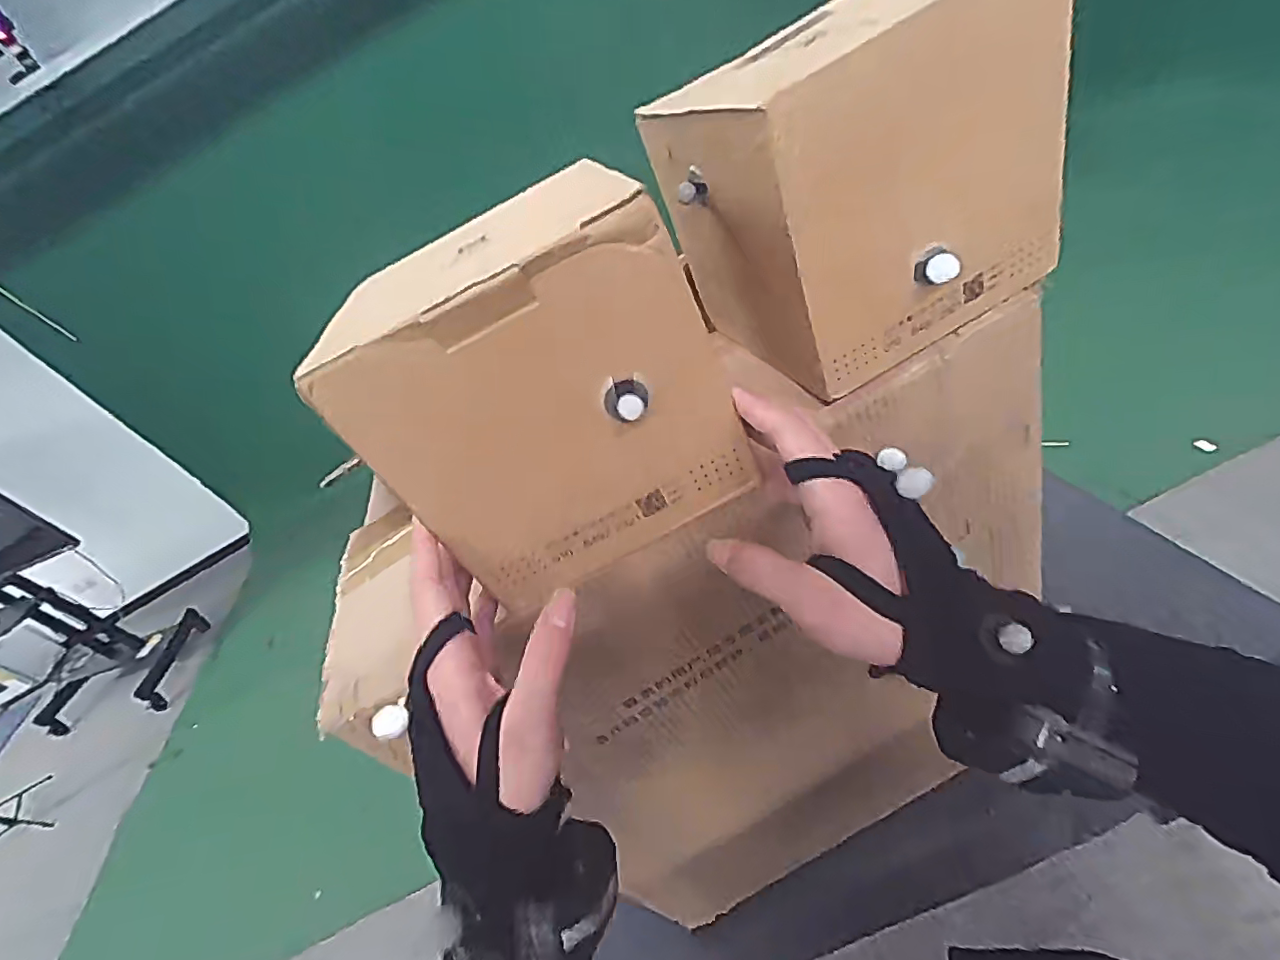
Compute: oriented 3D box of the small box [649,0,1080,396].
[{"bbox_3d":[0.131,-0.182,0.354,0.168,0.176,0.179,-30,38,0],"label":"small box"}]
